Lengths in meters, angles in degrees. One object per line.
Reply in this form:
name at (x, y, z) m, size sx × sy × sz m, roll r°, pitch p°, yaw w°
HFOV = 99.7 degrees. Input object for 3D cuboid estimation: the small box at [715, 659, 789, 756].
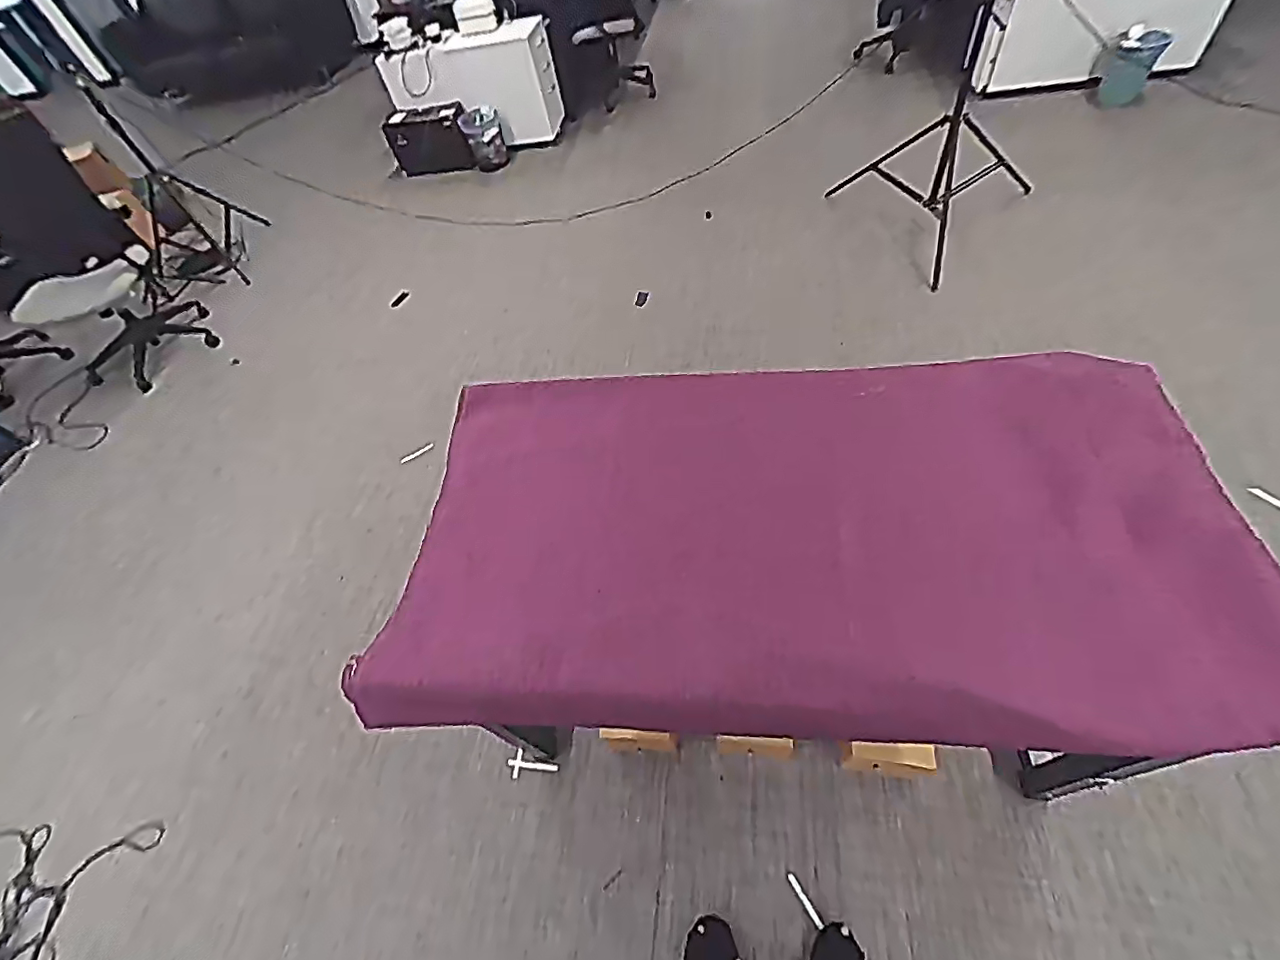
small box at (0.272, 0.553, 1.305) m, size 0.168 × 0.176 × 0.179 m, roll 2°, pitch 54°, yaw 11°

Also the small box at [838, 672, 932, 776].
small box at (0.555, 0.566, 1.245) m, size 0.168 × 0.176 × 0.179 m, roll 3°, pitch 54°, yaw 13°
